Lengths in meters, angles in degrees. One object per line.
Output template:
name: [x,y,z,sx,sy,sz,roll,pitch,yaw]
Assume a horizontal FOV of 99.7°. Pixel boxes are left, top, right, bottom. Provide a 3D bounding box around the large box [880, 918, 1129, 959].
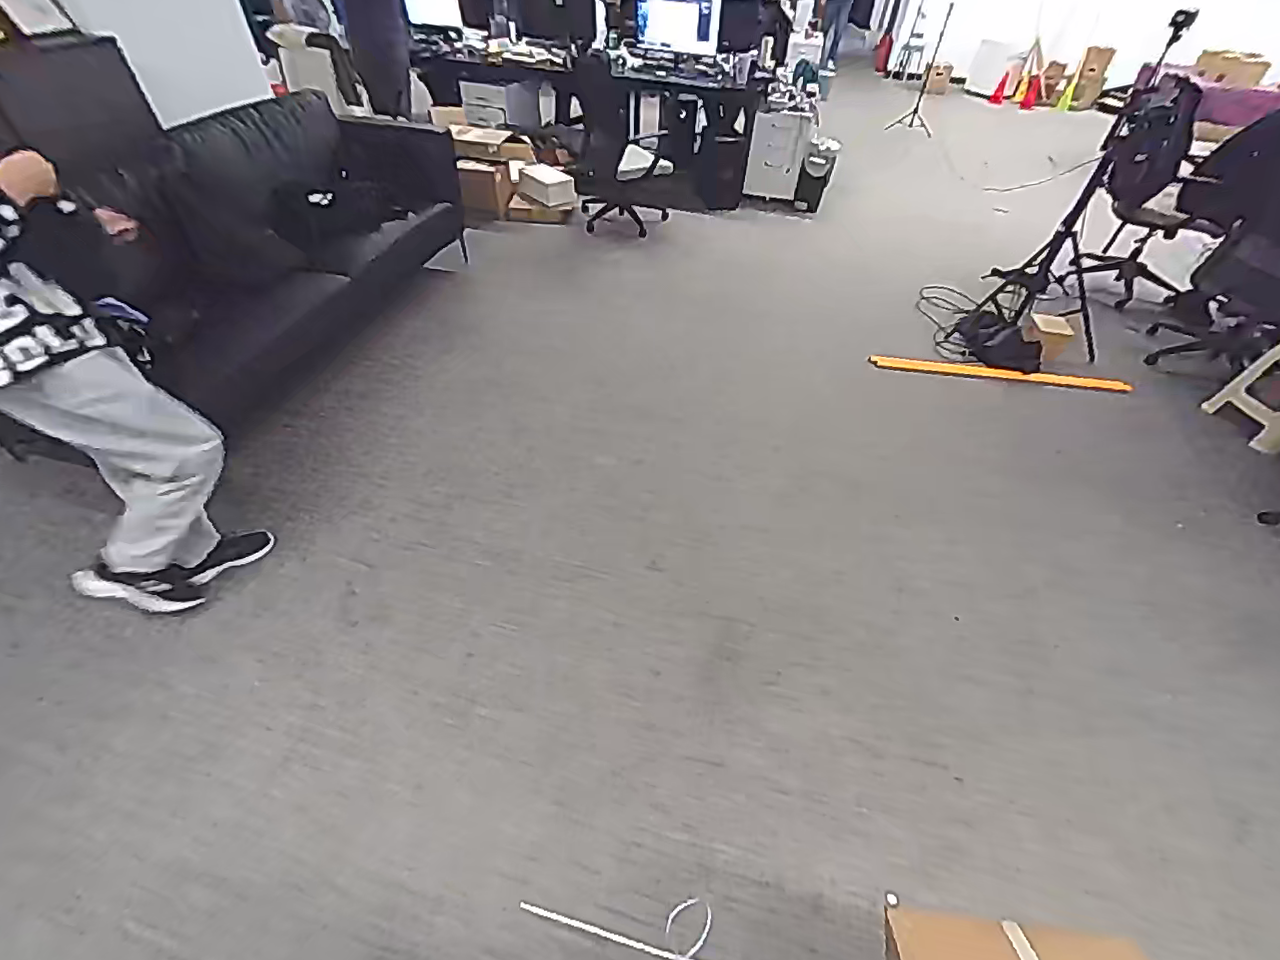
large box: [0.463,0.785,0.562,0.320,0.320,0.408,1,3,10]
